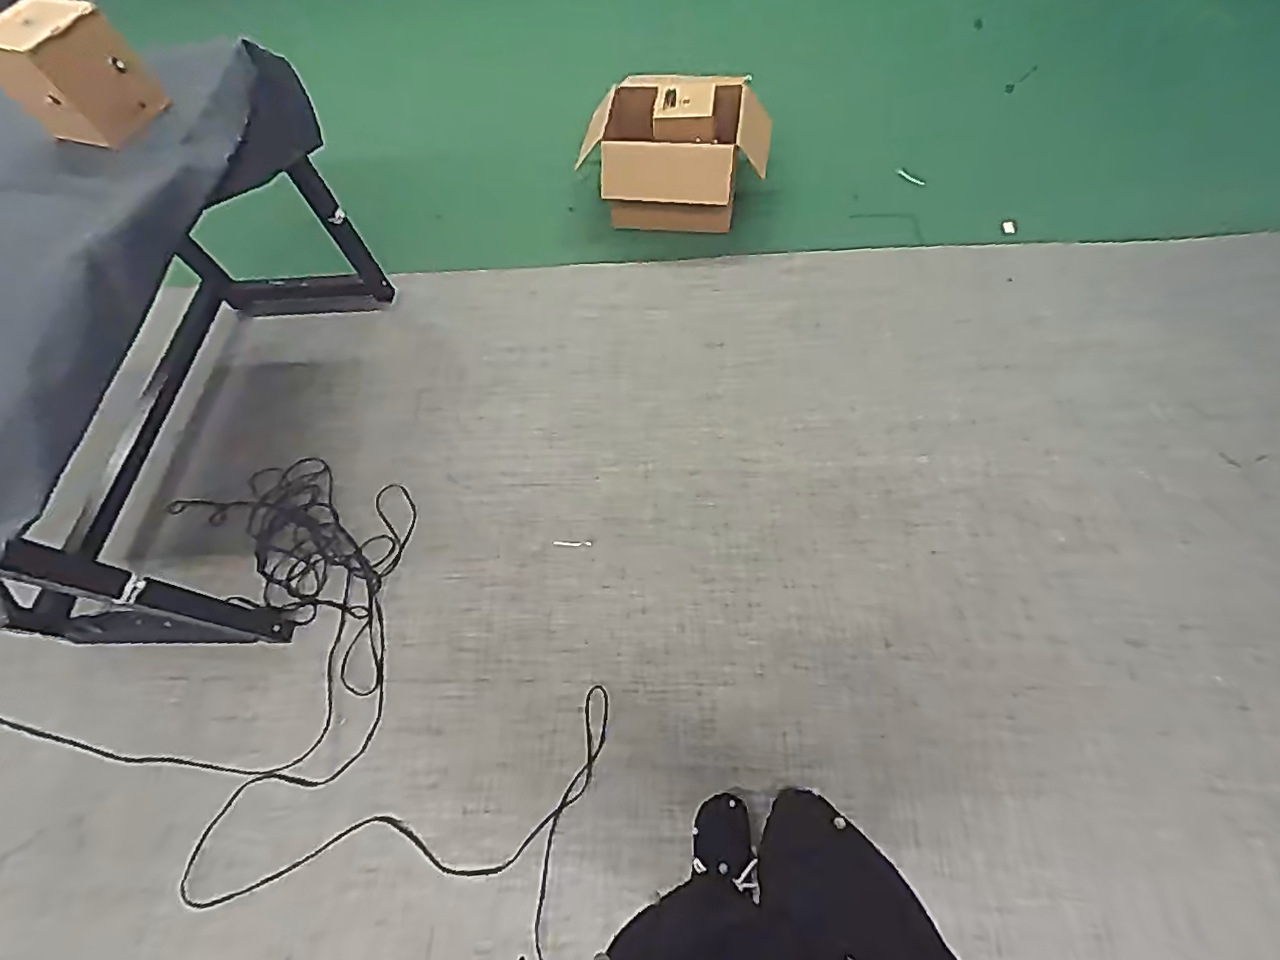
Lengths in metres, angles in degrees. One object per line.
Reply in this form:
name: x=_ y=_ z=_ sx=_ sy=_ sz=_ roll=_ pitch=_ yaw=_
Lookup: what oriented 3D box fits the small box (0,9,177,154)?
small box: x=-1.065 y=-0.760 z=1.040 sx=0.179 sy=0.176 sz=0.168 roll=15 pitch=64 yaw=14
